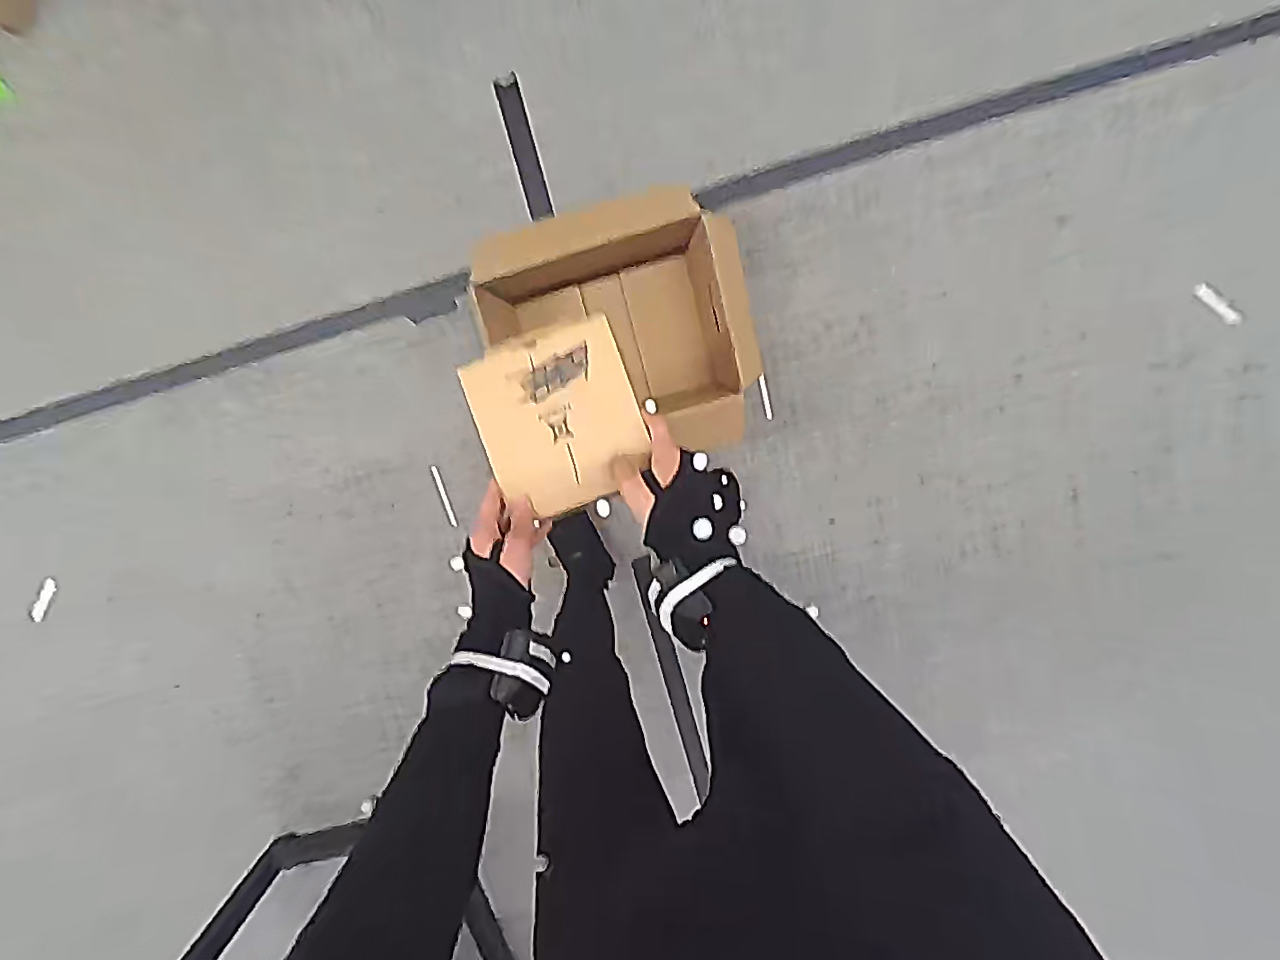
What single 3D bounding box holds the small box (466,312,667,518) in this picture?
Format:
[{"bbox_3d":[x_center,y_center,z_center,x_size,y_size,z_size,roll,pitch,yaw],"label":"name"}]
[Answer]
[{"bbox_3d":[-0.072,-0.065,0.633,0.168,0.176,0.179,-20,89,5],"label":"small box"}]
